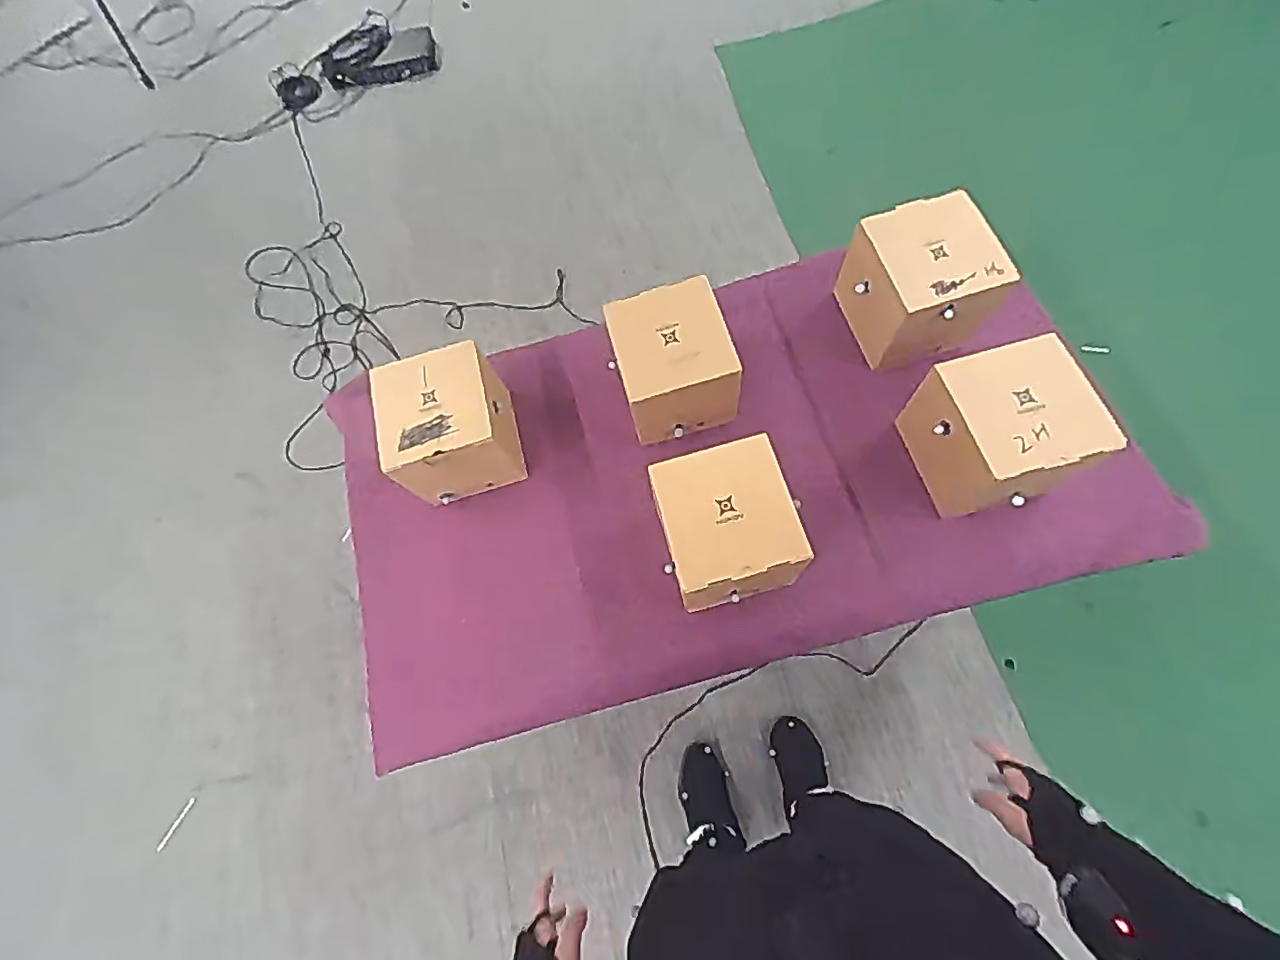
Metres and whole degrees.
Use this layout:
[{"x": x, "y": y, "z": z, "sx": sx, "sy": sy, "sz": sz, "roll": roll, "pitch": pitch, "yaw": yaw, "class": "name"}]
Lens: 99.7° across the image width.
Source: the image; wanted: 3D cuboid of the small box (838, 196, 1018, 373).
[{"x": 0.435, "y": -0.300, "z": 0.855, "sx": 0.168, "sy": 0.176, "sz": 0.179, "roll": -16, "pitch": 69, "yaw": 1, "class": "small box"}]

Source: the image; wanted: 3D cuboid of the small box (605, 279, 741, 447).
[{"x": 0.052, "y": -0.178, "z": 0.858, "sx": 0.168, "sy": 0.176, "sz": 0.179, "roll": -16, "pitch": 70, "yaw": 2, "class": "small box"}]

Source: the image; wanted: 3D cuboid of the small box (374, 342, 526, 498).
[{"x": -0.293, "y": -0.083, "z": 0.861, "sx": 0.168, "sy": 0.176, "sz": 0.179, "roll": -16, "pitch": 69, "yaw": 0, "class": "small box"}]

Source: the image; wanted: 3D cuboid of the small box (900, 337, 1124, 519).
[{"x": 0.496, "y": -0.064, "z": 0.759, "sx": 0.168, "sy": 0.176, "sz": 0.179, "roll": -15, "pitch": 68, "yaw": 2, "class": "small box"}]
